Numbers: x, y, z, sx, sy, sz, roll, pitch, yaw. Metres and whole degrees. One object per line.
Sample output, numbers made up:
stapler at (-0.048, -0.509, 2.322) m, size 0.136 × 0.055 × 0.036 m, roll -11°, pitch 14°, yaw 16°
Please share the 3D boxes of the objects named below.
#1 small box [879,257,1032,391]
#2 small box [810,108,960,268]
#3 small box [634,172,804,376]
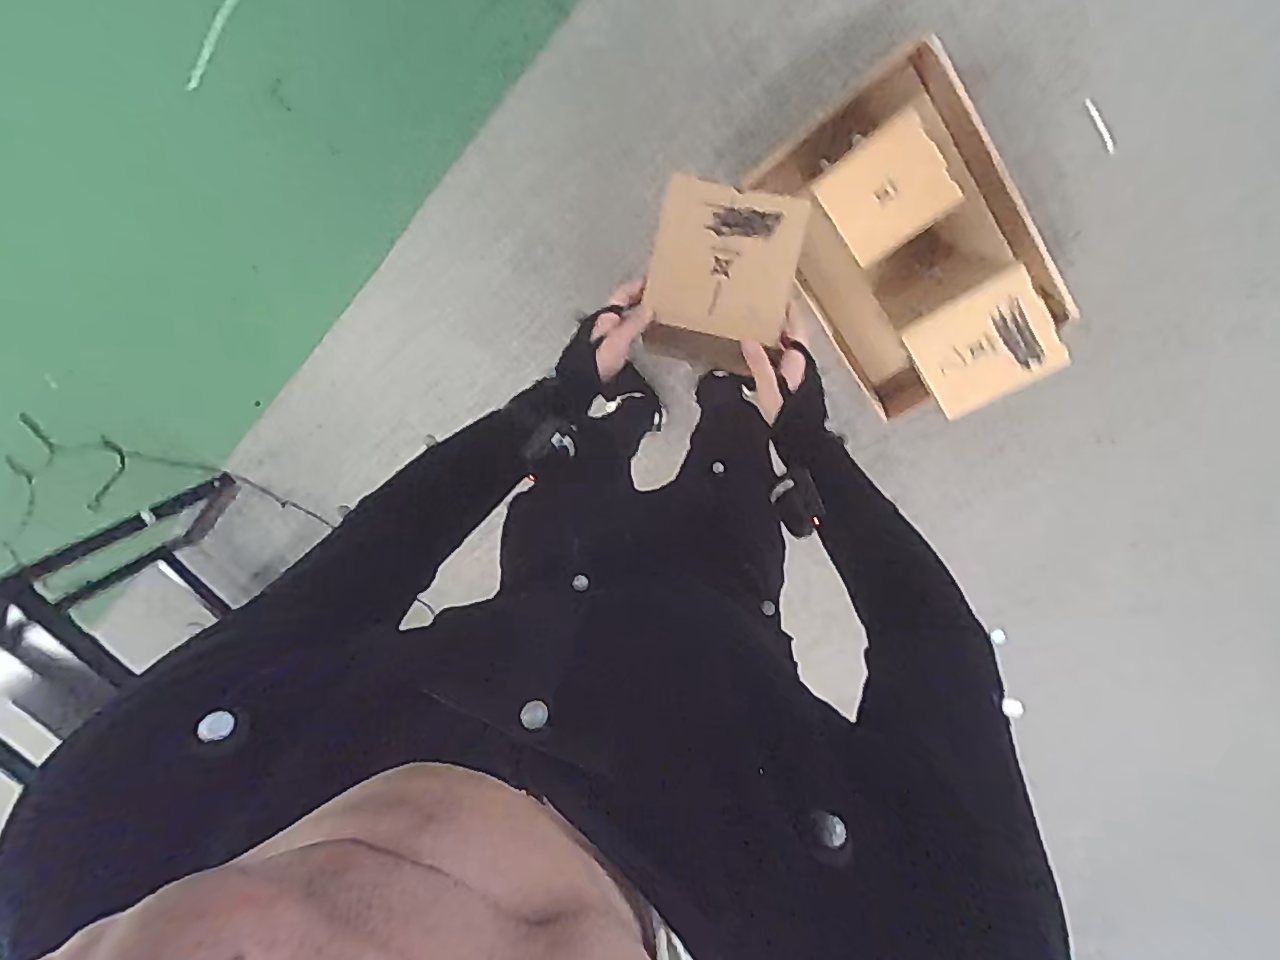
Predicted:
small box at (0.574, -0.297, 1.009) m, size 0.179 × 0.176 × 0.168 m, roll -32°, pitch 102°, yaw 26°
small box at (0.419, -0.502, 0.951) m, size 0.179 × 0.176 × 0.168 m, roll -33°, pitch 104°, yaw 26°
small box at (0.091, -0.248, 0.692) m, size 0.168 × 0.176 × 0.179 m, roll 13°, pitch 90°, yaw 2°
